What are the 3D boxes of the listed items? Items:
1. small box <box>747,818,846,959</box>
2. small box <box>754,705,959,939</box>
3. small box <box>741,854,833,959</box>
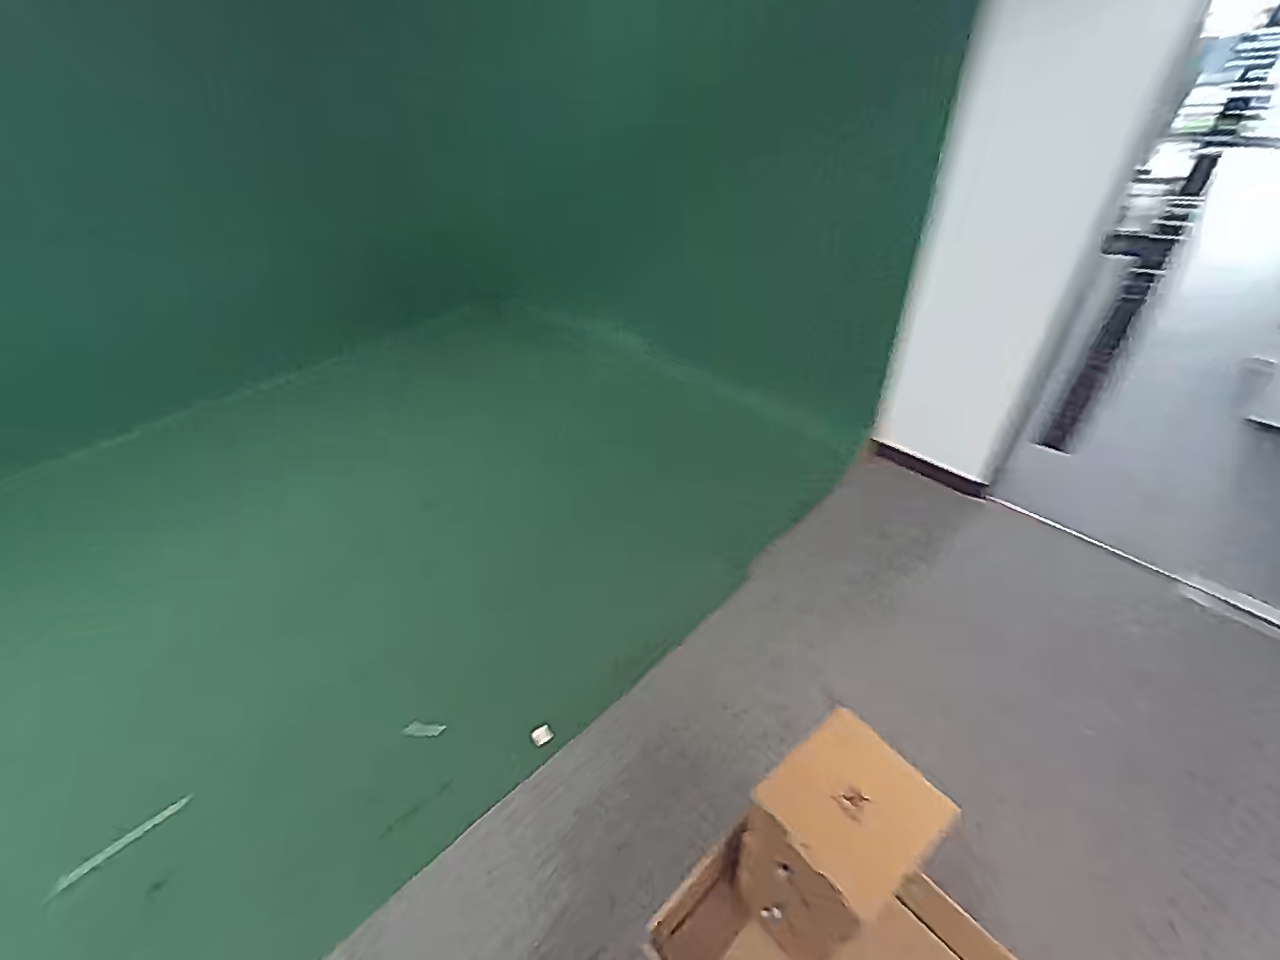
[{"bbox_3d":[0.274,0.559,0.809,0.179,0.176,0.168,-30,46,-24],"label":"small box"},{"bbox_3d":[0.264,0.439,0.700,0.179,0.176,0.168,-29,47,-23],"label":"small box"},{"bbox_3d":[0.286,0.680,0.919,0.179,0.176,0.168,-31,48,-26],"label":"small box"}]
